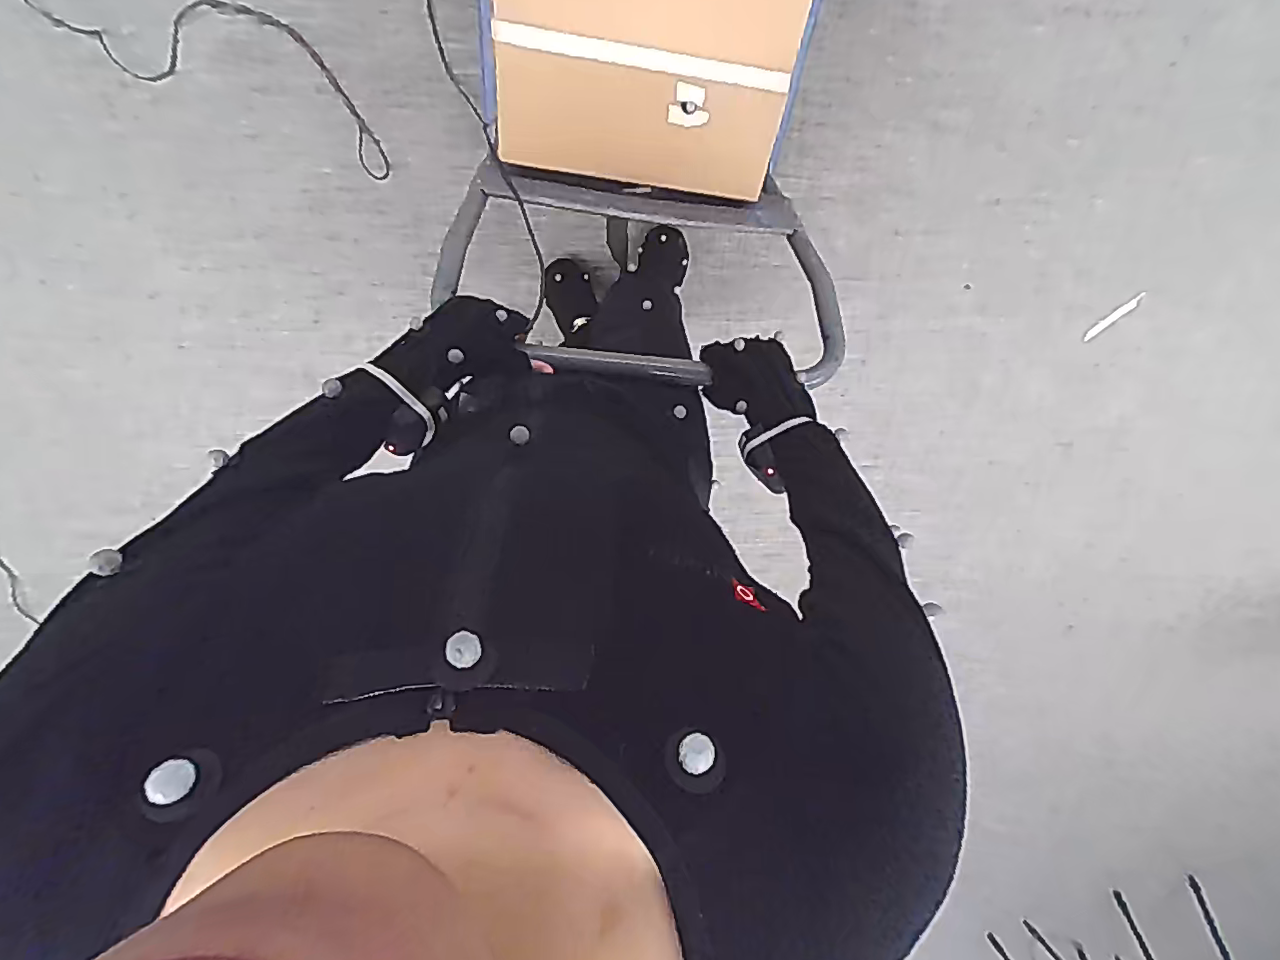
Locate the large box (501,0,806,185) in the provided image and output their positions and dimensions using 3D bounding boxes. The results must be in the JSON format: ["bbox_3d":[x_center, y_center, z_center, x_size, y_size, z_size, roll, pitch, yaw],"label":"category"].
[{"bbox_3d":[0.004,-0.695,0.843,0.408,0.320,0.320,4,135,-8],"label":"large box"}]
